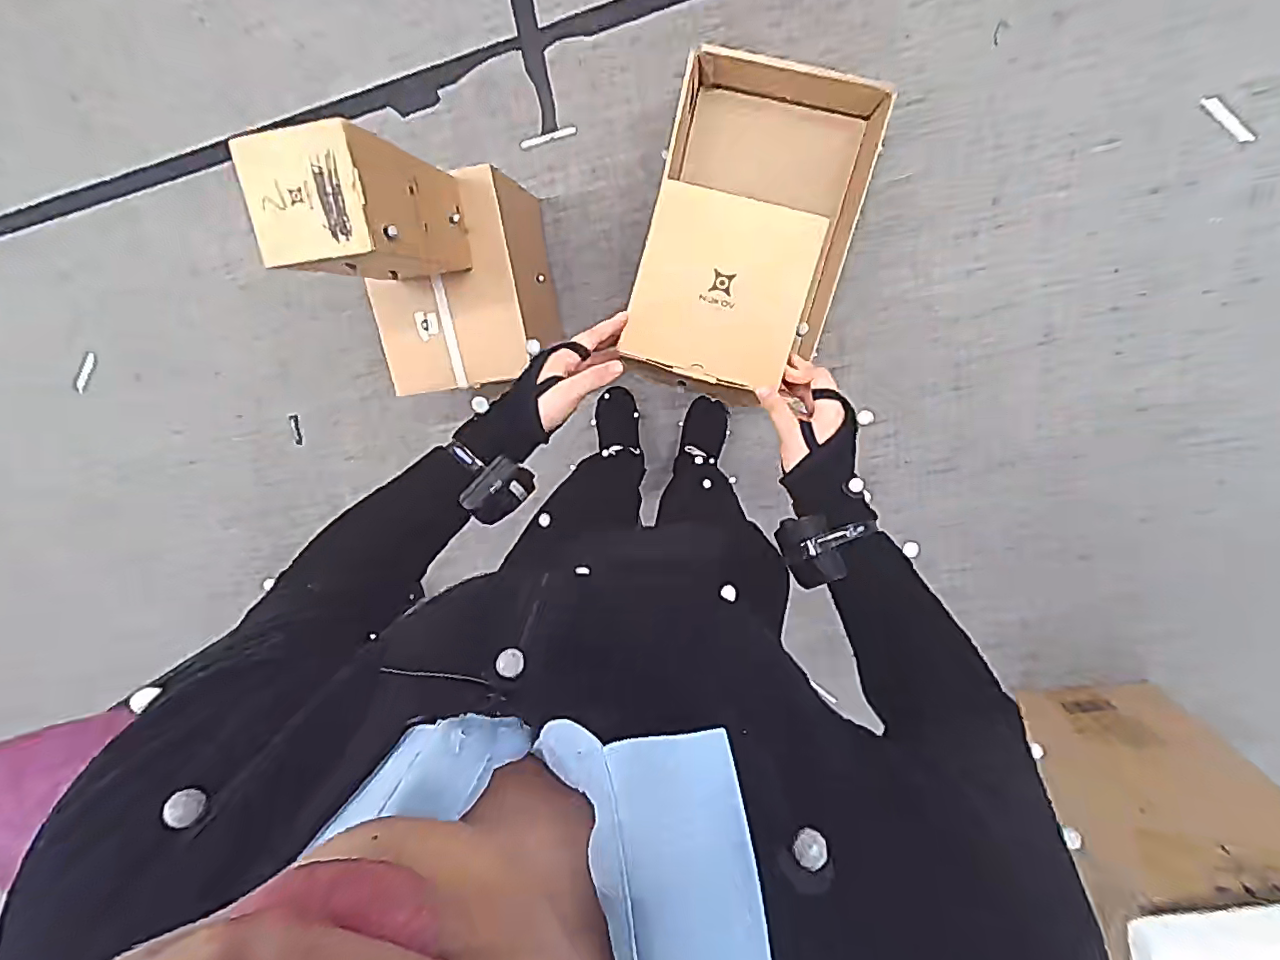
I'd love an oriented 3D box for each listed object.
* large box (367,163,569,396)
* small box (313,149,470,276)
[{"bbox_3d":[-0.378,-0.431,1.227,0.320,0.320,0.408,-7,106,10],"label":"large box"},{"bbox_3d":[-0.431,-0.464,0.965,0.179,0.176,0.168,-5,107,8],"label":"small box"}]
